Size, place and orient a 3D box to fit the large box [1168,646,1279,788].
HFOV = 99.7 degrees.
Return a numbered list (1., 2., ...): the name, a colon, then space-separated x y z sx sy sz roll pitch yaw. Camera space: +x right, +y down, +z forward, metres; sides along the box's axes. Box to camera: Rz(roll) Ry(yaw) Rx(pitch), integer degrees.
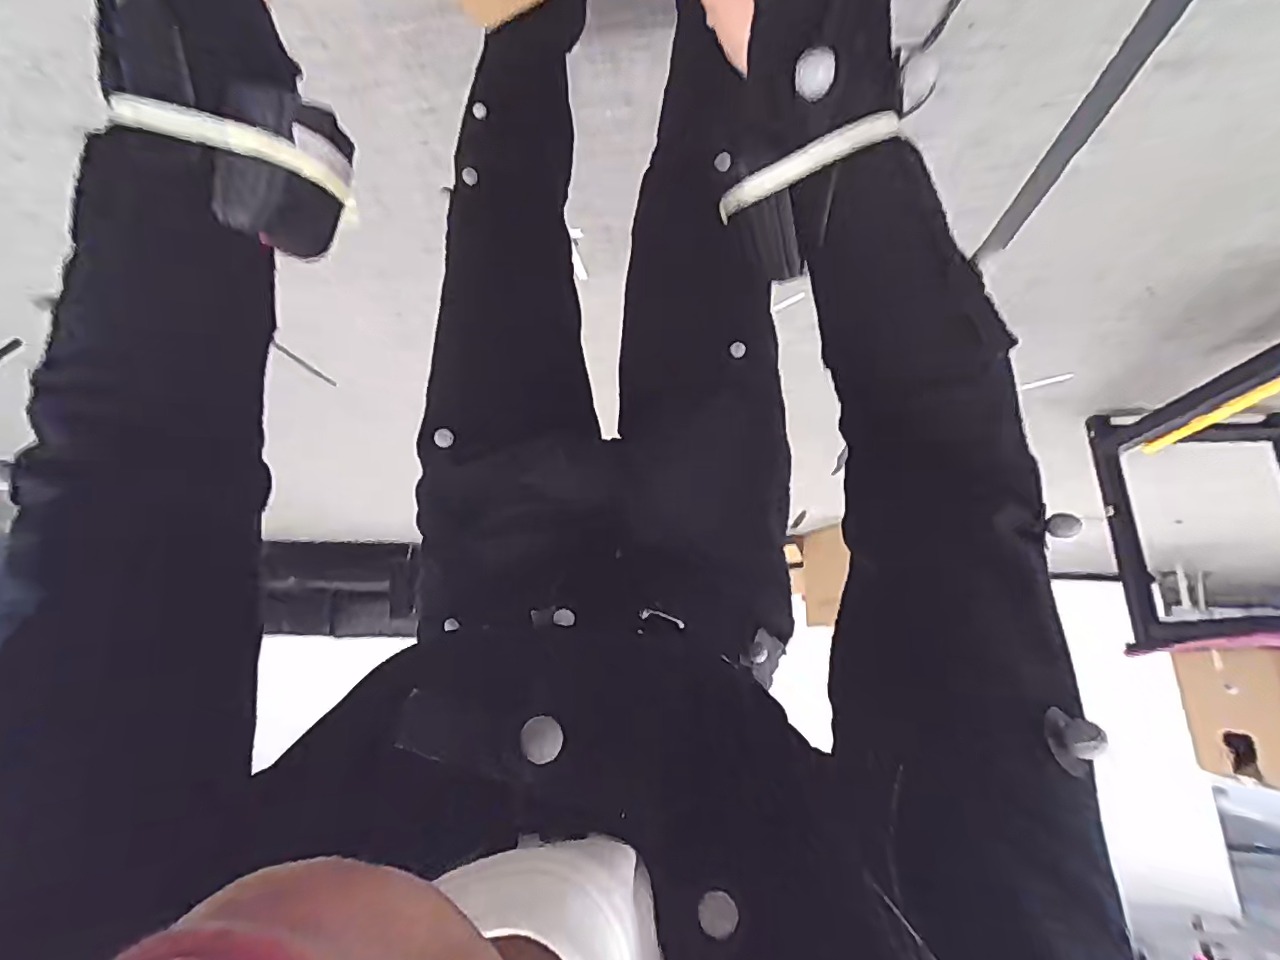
1. large box: 1.661 0.574 1.319 0.408 0.320 0.320 -1 163 8
